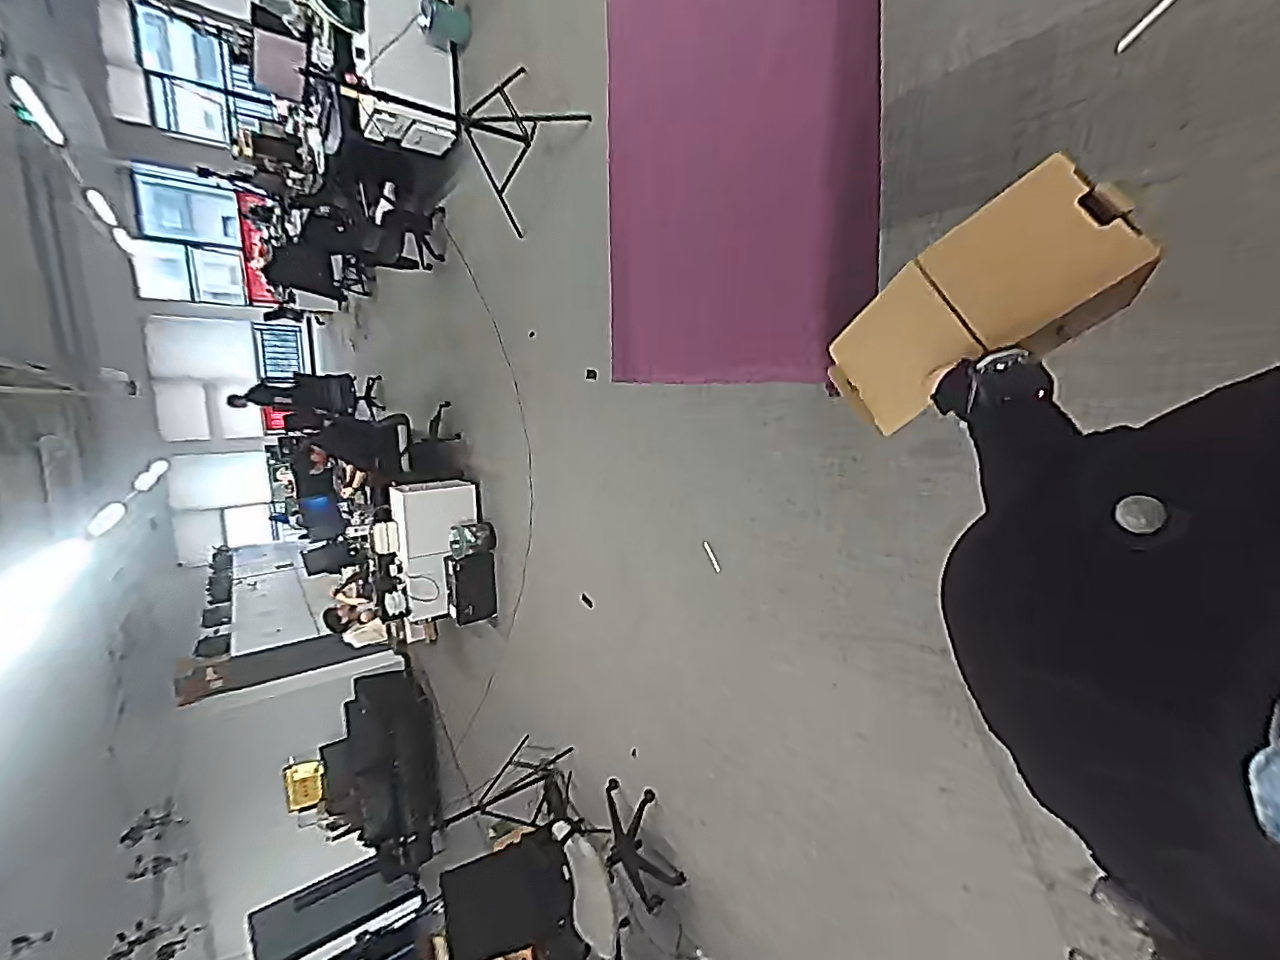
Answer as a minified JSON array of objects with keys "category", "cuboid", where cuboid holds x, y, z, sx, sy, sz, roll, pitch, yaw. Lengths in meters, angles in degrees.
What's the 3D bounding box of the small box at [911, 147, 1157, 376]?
[{"category":"small box","cuboid":[0.478,-0.254,0.677,0.179,0.176,0.168,-37,69,28]}]
